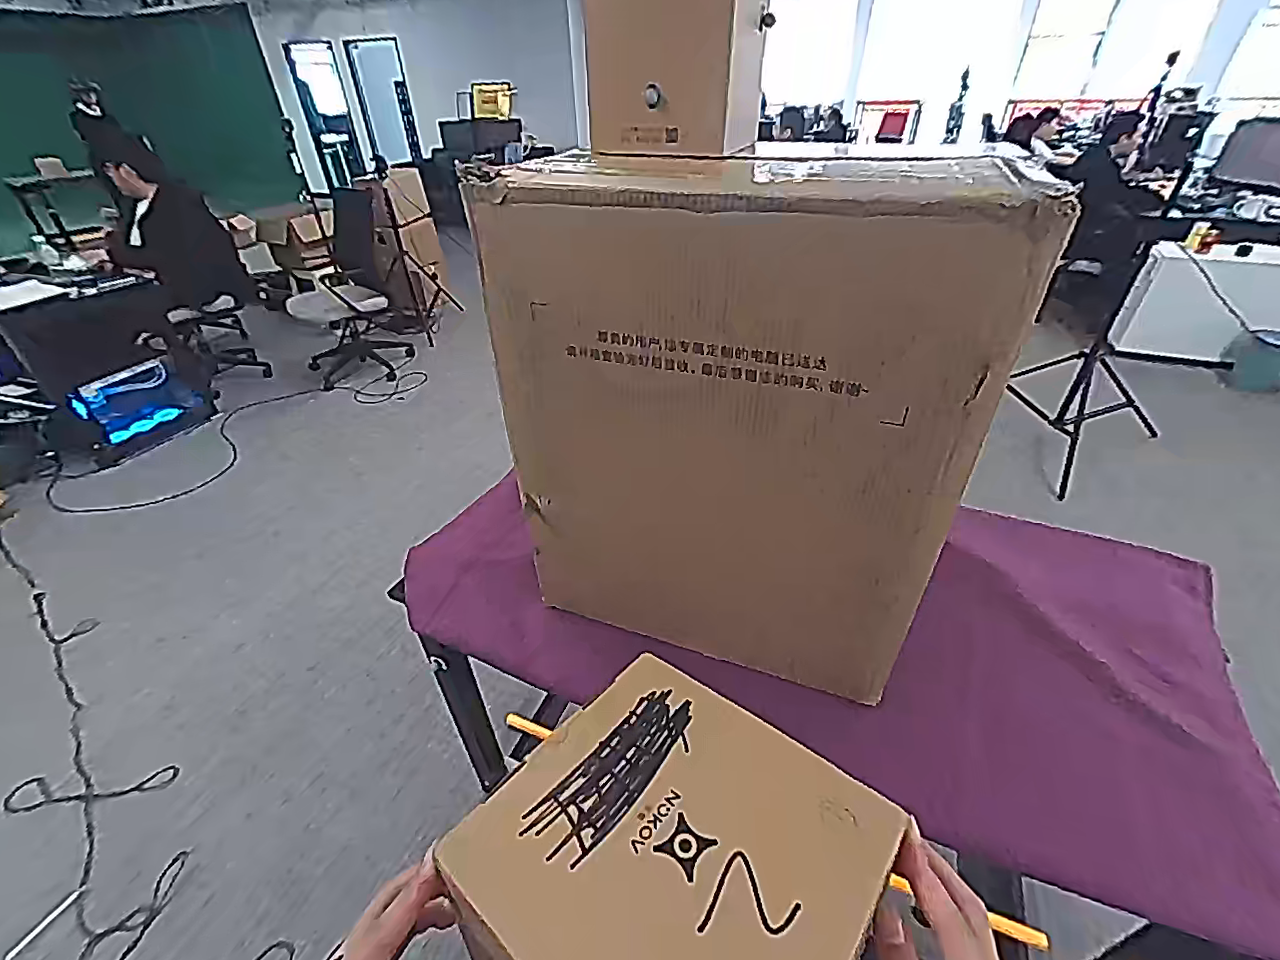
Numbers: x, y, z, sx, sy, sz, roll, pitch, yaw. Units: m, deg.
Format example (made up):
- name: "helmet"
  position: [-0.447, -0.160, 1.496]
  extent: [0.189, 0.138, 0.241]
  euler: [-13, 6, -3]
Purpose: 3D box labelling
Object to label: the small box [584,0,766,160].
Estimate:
- name: "small box"
  position: [0.042, -0.485, 0.636]
  extent: [0.168, 0.176, 0.179]
  euler: [12, 38, 18]
